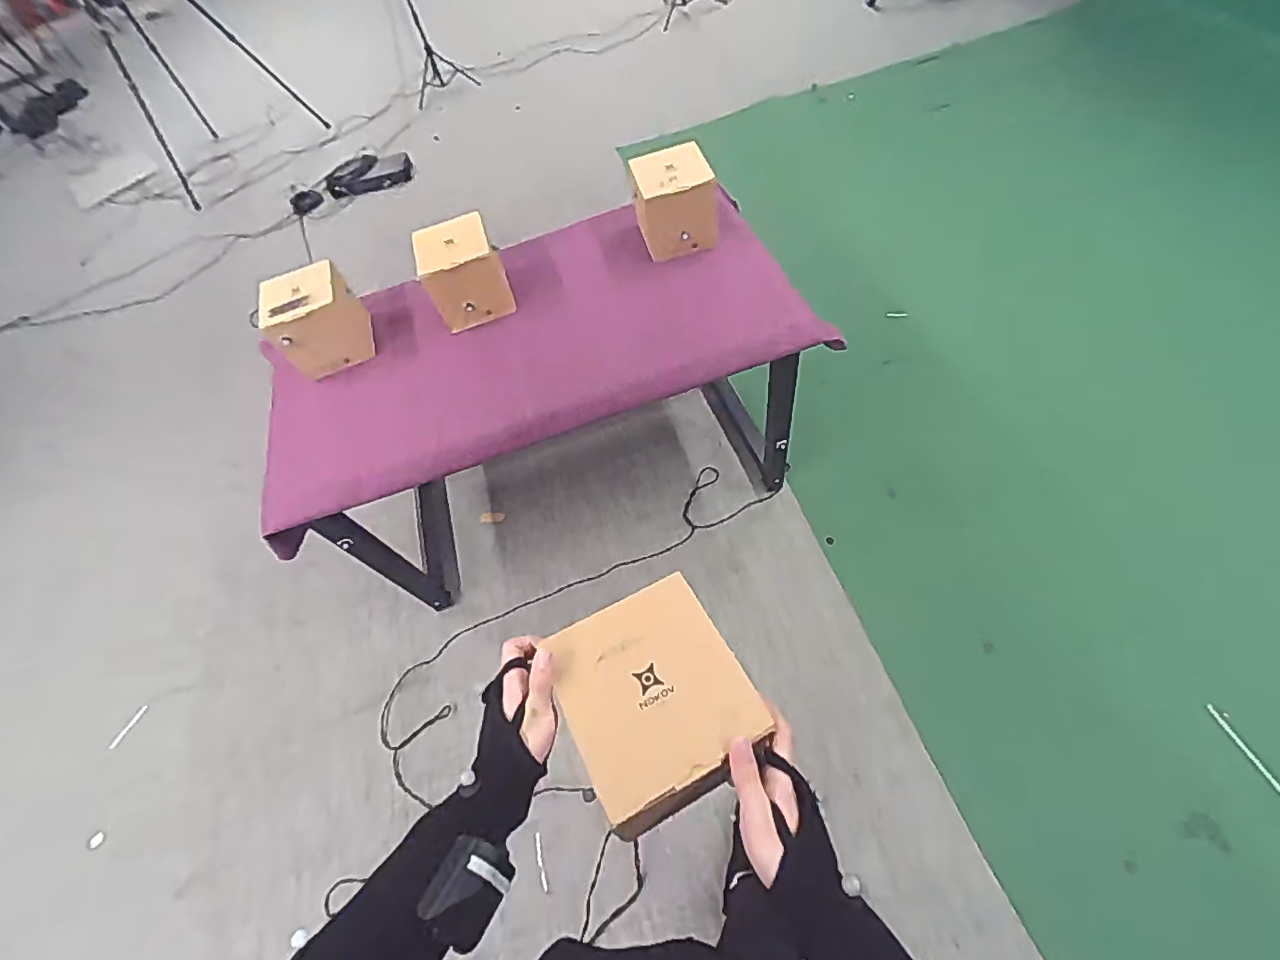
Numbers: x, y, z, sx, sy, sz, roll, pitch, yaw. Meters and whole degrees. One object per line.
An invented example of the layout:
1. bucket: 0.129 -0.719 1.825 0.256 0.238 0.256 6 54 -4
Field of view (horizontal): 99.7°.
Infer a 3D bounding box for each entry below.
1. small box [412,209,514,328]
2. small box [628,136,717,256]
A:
1. small box: -0.412 -0.492 1.269 0.168 0.176 0.179 -20 59 -2
2. small box: 0.078 -0.665 1.276 0.168 0.176 0.179 -16 59 2
